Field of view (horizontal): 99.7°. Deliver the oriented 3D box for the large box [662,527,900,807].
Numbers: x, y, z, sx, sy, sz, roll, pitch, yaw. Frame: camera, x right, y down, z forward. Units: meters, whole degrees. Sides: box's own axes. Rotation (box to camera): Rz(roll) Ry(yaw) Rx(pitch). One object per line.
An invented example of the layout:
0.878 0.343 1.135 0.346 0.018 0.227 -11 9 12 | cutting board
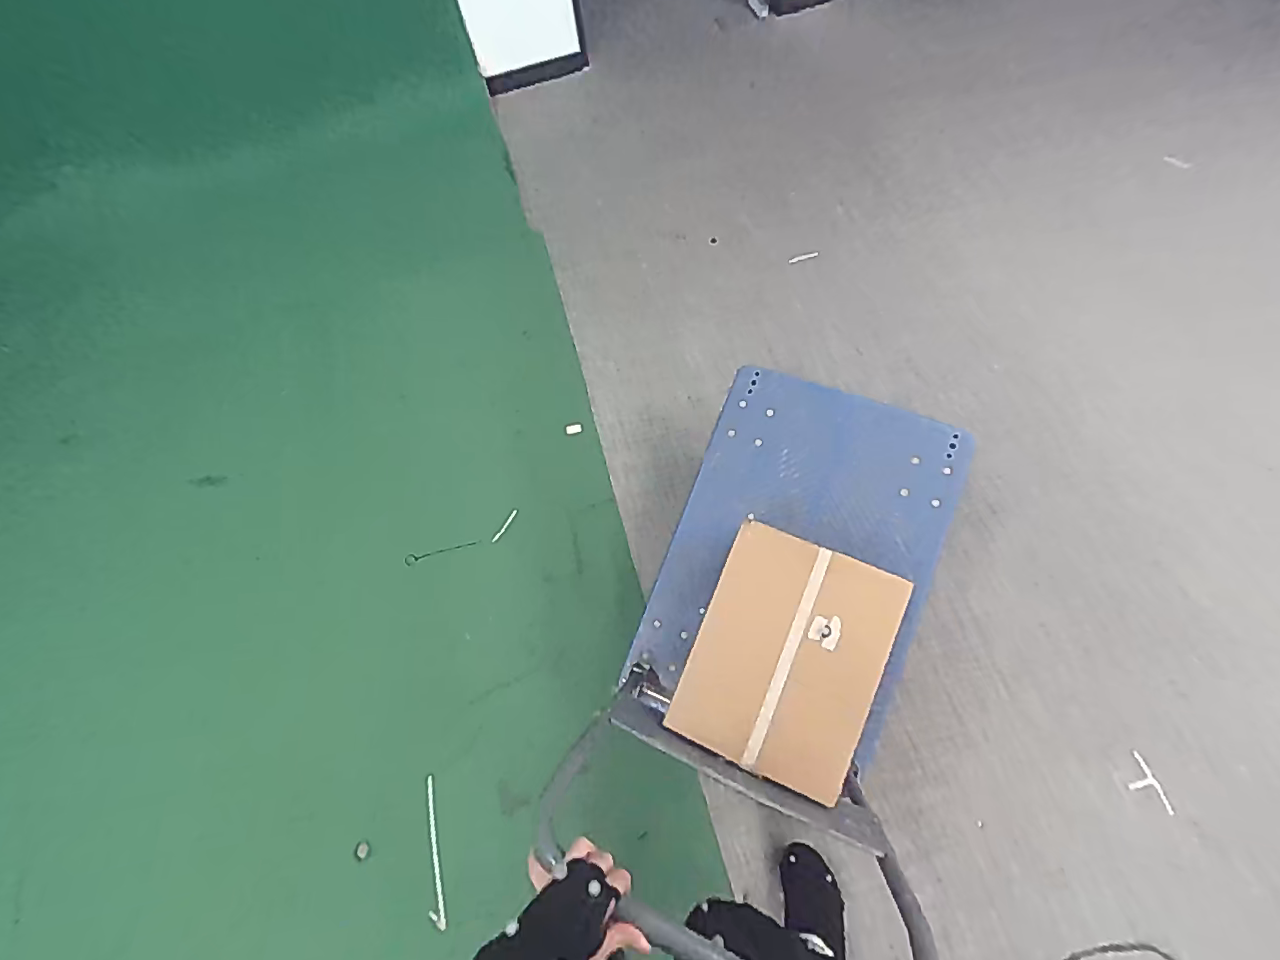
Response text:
0.277 0.352 1.113 0.320 0.320 0.408 22 83 13 | large box
